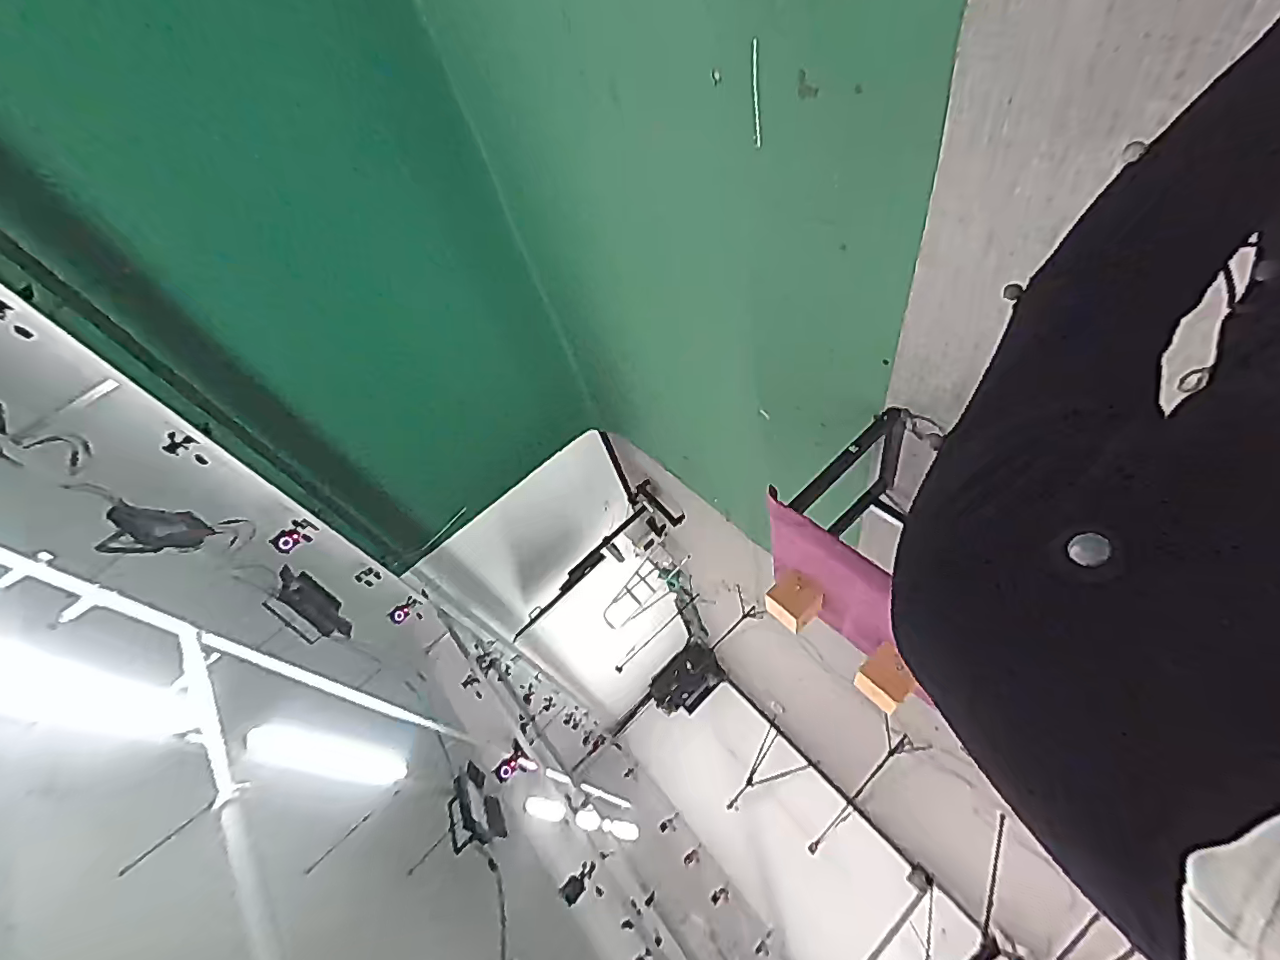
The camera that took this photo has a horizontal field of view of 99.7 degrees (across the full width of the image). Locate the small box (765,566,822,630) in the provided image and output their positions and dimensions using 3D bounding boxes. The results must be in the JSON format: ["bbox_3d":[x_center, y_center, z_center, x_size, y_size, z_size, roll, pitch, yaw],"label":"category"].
[{"bbox_3d":[0.645,0.495,2.275,0.168,0.176,0.179,38,162,33],"label":"small box"}]

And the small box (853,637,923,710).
[{"bbox_3d":[0.931,0.724,2.031,0.168,0.176,0.179,39,162,34],"label":"small box"}]
